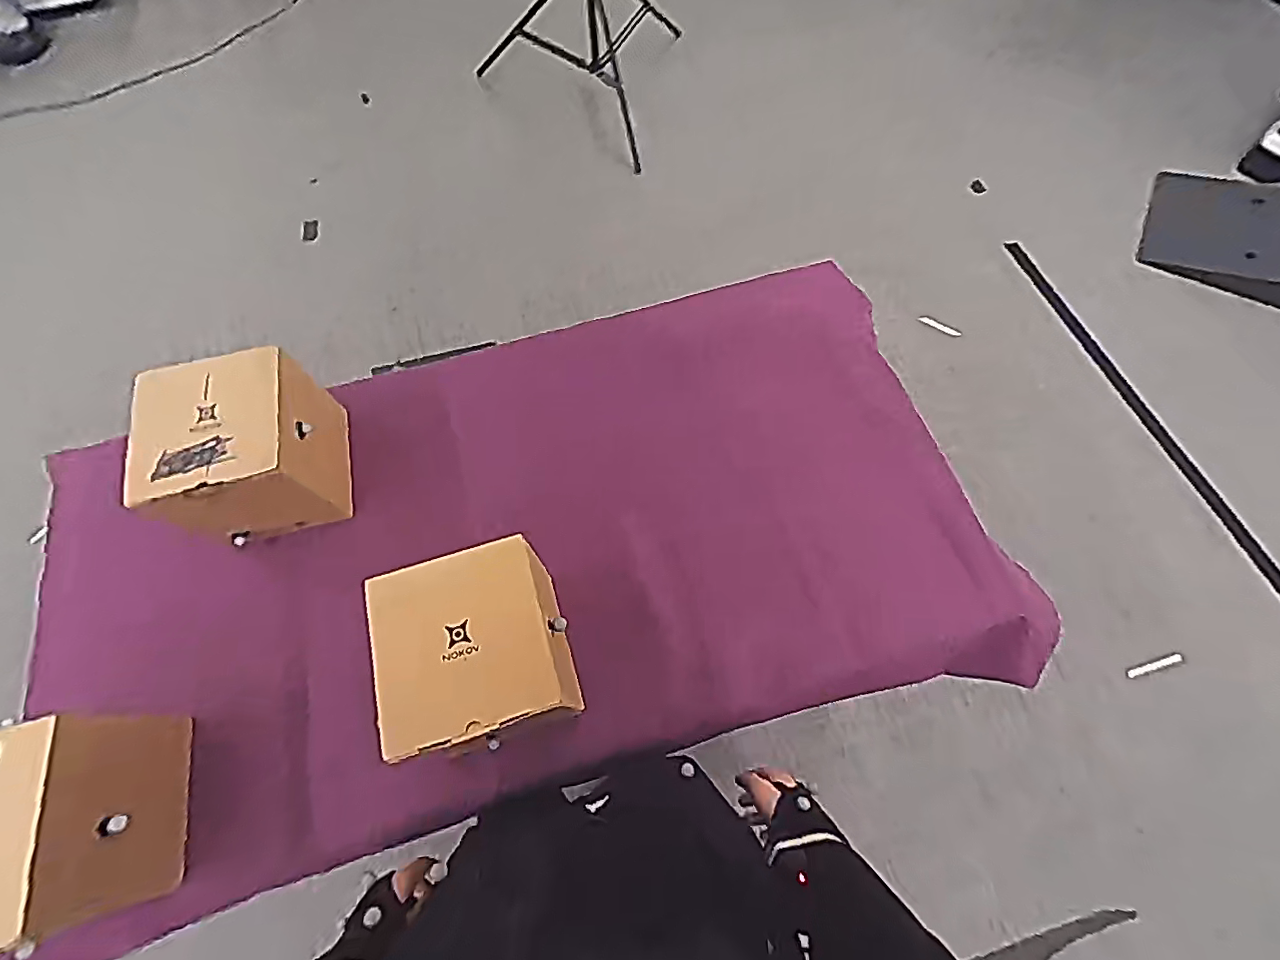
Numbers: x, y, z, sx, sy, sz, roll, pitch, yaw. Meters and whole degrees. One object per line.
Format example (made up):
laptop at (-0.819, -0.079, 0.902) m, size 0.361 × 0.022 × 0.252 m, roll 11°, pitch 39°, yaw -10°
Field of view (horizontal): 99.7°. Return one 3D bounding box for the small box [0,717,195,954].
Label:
small box at (-0.587, 0.347, 0.534) m, size 0.168 × 0.176 × 0.179 m, roll -15°, pitch 67°, yaw -6°

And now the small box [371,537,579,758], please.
small box at (-0.173, 0.188, 0.601) m, size 0.168 × 0.176 × 0.179 m, roll -17°, pitch 67°, yaw -7°

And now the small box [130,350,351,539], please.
small box at (-0.495, -0.034, 0.697) m, size 0.168 × 0.176 × 0.179 m, roll -14°, pitch 68°, yaw -6°
